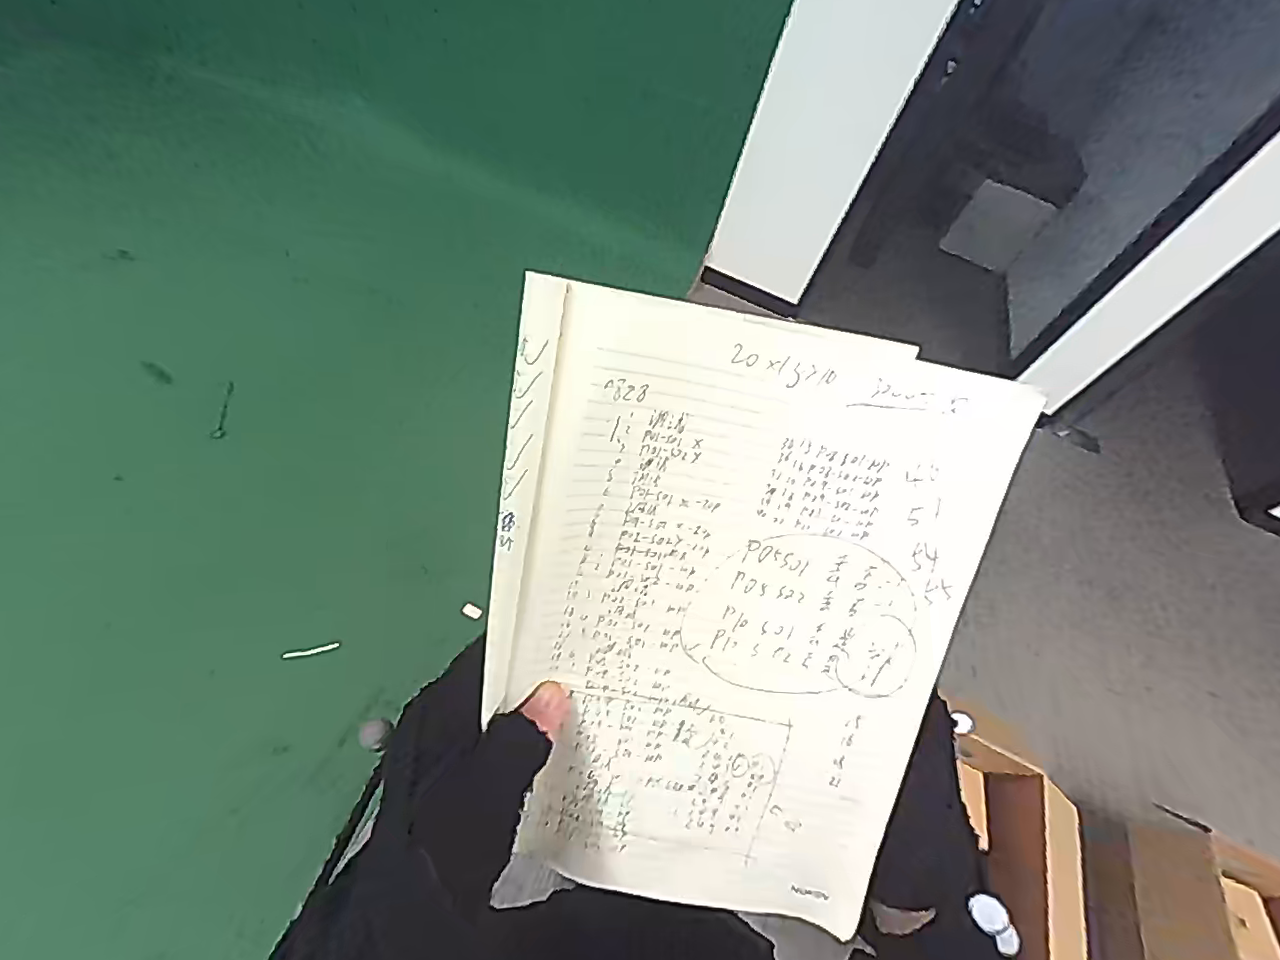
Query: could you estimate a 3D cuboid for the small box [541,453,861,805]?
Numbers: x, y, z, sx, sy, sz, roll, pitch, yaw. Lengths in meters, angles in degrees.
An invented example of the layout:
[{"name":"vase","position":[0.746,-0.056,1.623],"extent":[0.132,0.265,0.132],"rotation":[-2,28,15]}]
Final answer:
[{"name":"small box","position":[0.026,0.082,0.358],"extent":[0.168,0.176,0.179],"rotation":[0,84,-4]}]
